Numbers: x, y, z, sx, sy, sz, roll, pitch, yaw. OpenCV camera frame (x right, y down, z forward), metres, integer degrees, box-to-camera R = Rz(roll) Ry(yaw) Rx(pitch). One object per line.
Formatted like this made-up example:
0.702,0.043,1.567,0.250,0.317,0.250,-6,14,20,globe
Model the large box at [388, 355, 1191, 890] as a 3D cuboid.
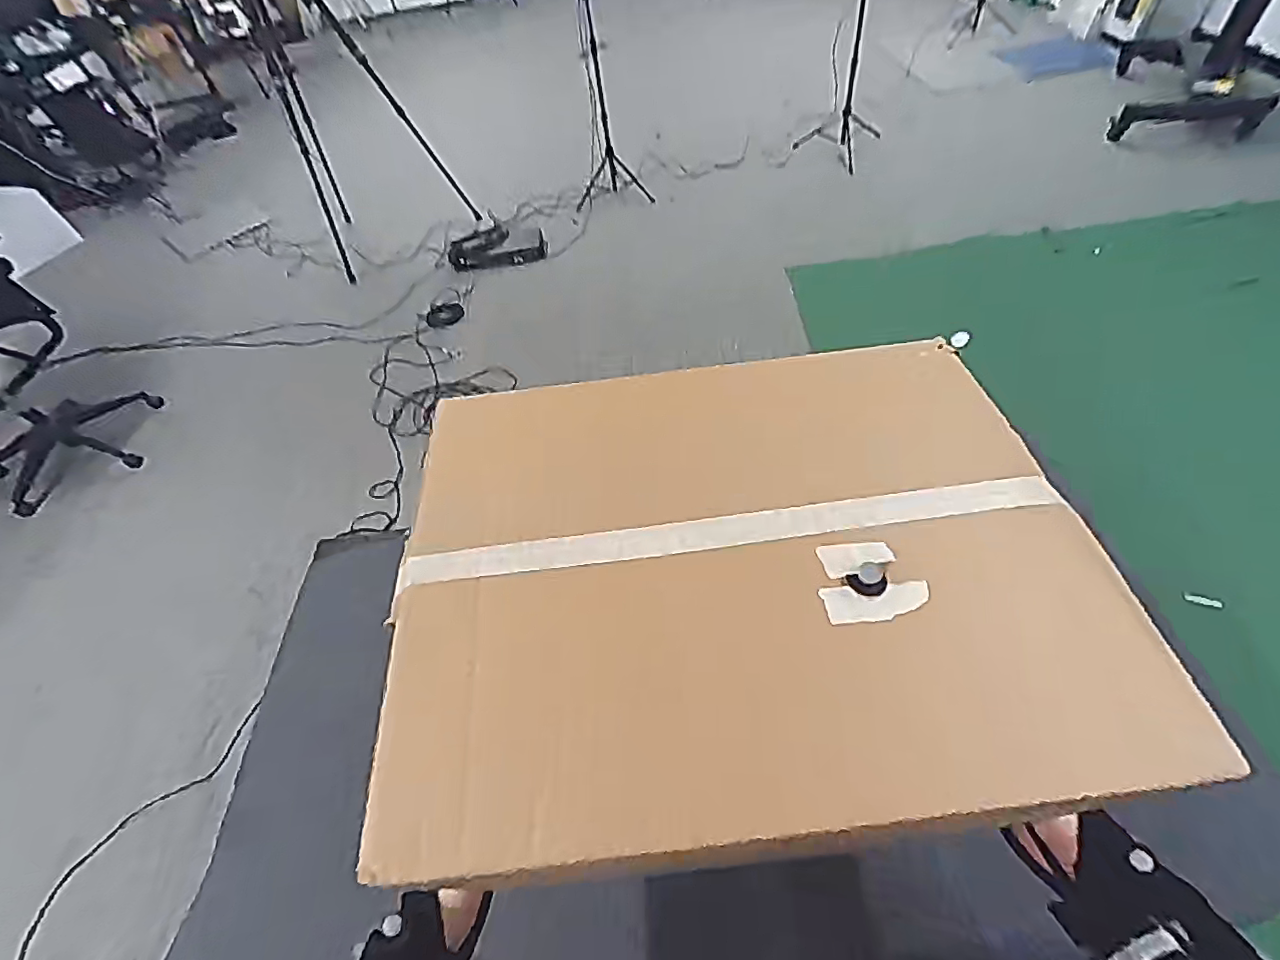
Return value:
0.066,0.132,0.466,0.408,0.320,0.320,-7,53,-1,large box
